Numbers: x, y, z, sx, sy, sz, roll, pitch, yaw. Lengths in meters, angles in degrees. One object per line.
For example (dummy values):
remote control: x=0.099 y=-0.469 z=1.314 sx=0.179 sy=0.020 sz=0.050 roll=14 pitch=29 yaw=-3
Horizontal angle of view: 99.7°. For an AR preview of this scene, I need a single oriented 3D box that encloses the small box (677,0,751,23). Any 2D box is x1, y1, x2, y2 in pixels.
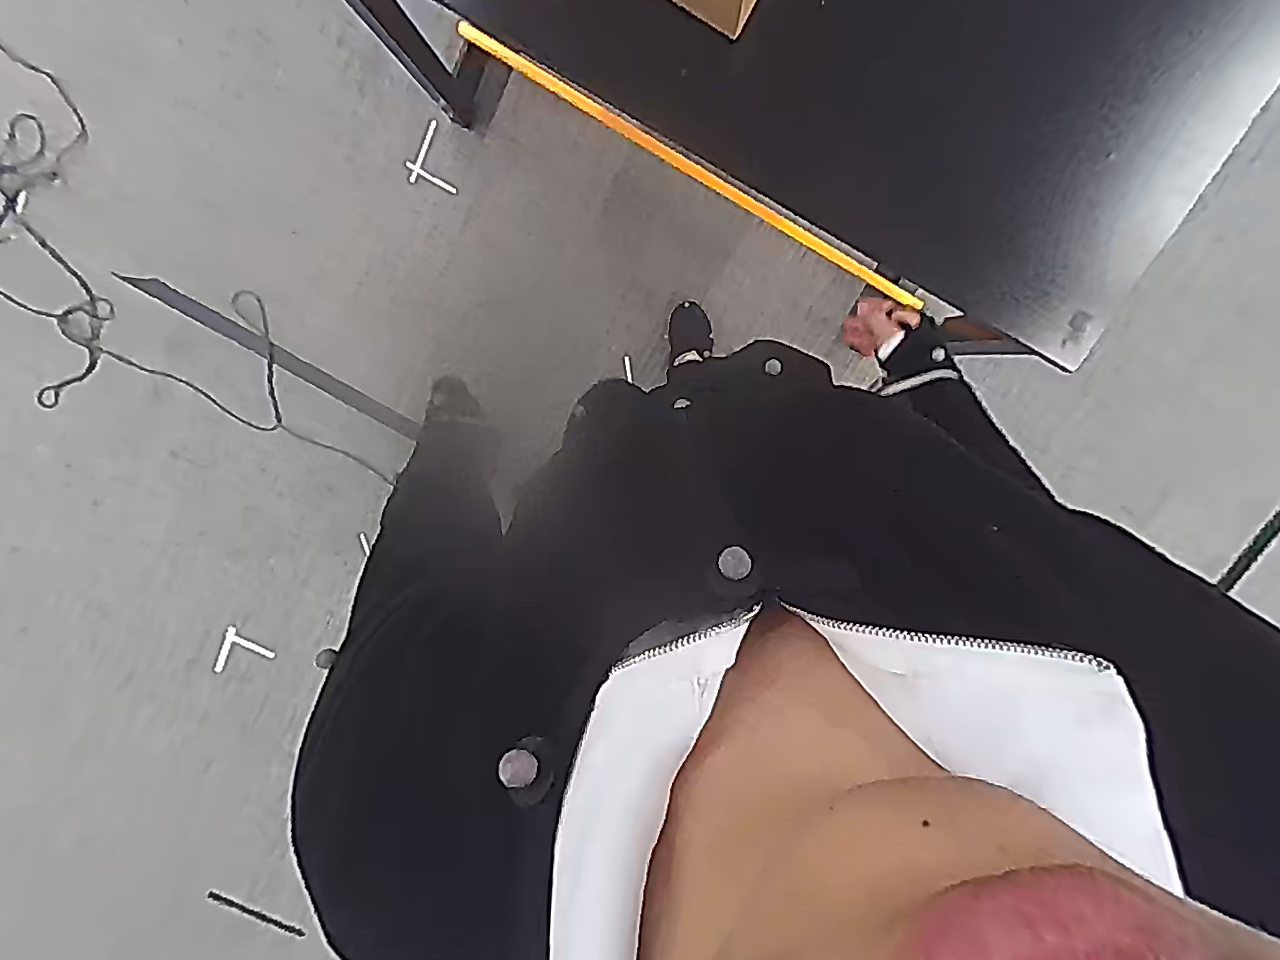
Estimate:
small box: x=0.072 y=-0.596 z=0.514 sx=0.179 sy=0.176 sz=0.168 roll=29 pitch=102 yaw=-5
